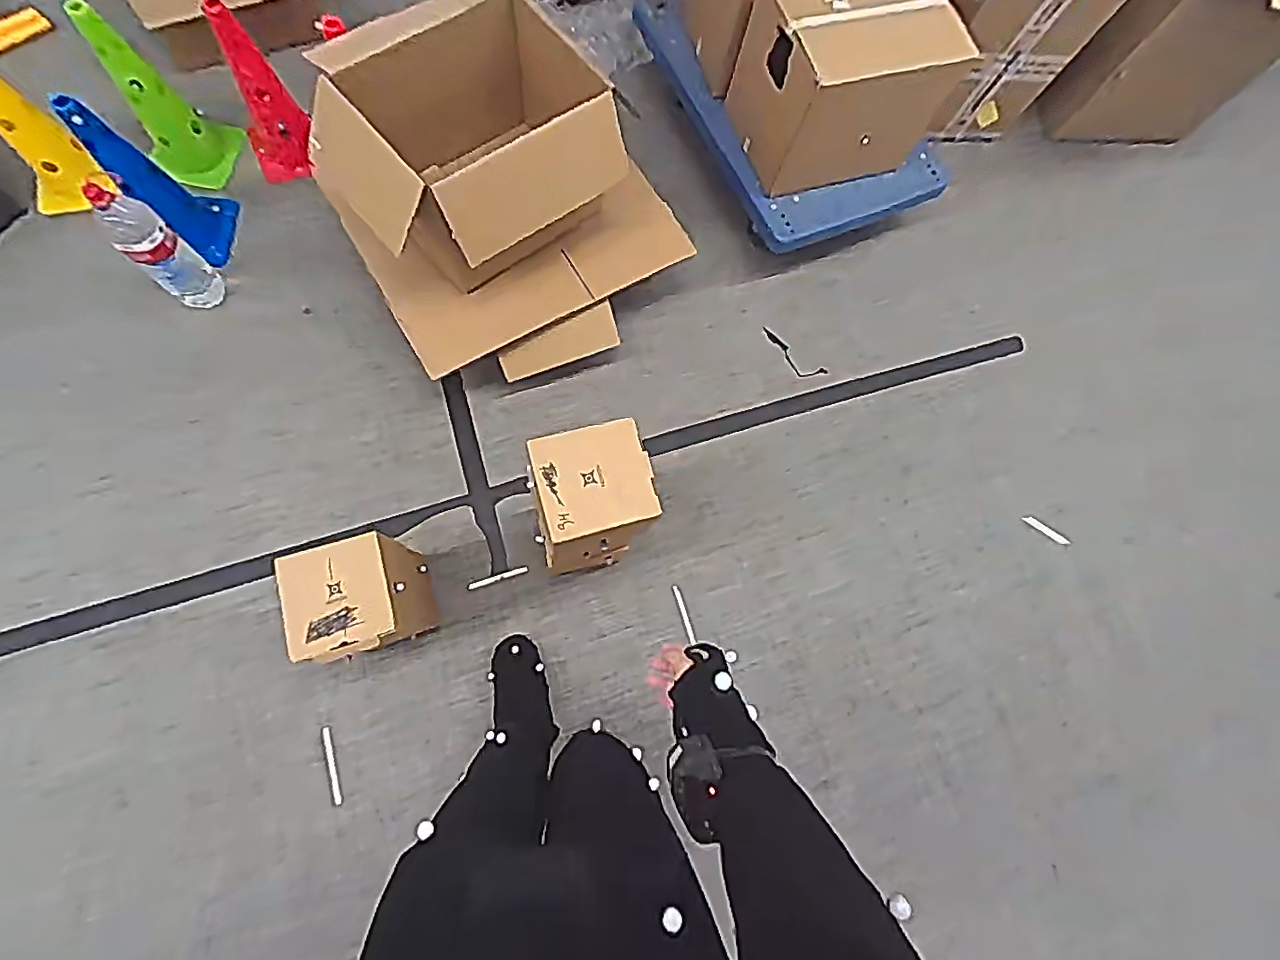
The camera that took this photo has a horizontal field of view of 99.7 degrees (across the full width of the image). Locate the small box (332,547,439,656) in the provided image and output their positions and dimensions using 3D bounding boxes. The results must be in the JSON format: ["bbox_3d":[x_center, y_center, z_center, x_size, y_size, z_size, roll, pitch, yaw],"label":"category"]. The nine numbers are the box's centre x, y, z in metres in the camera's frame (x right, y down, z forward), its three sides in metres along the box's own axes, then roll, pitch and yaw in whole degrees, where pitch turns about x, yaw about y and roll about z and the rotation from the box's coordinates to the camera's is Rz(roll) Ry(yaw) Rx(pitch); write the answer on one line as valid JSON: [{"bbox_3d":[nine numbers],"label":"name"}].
[{"bbox_3d":[-0.533,0.250,1.120,0.179,0.176,0.168,-19,78,-10],"label":"small box"}]

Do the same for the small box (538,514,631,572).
[{"bbox_3d":[-0.131,0.103,1.209,0.179,0.176,0.168,-12,77,-11],"label":"small box"}]

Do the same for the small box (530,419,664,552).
[{"bbox_3d":[-0.079,0.015,0.899,0.179,0.176,0.168,-14,79,-12],"label":"small box"}]

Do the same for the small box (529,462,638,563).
[{"bbox_3d":[-0.114,0.050,1.055,0.168,0.176,0.179,-16,79,-12],"label":"small box"}]

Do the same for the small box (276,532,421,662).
[{"bbox_3d":[-0.507,0.208,0.963,0.168,0.176,0.179,-16,77,-11],"label":"small box"}]
